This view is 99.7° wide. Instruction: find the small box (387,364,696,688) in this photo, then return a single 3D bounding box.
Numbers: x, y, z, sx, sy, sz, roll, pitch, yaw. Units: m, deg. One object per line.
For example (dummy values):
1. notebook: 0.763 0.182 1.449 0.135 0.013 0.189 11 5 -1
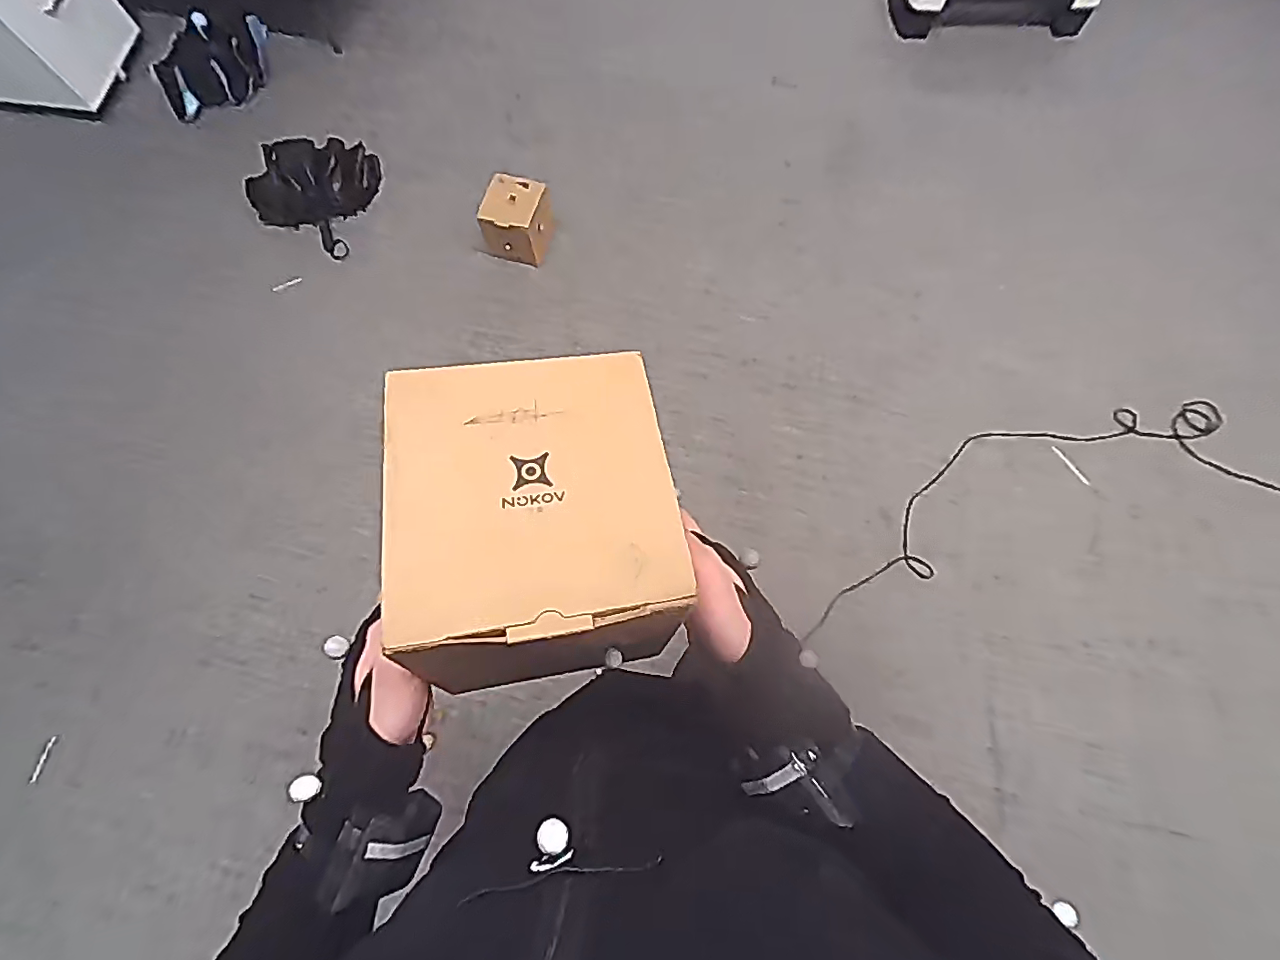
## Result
1. small box: -0.070 0.043 0.390 0.168 0.176 0.179 -7 62 -11
